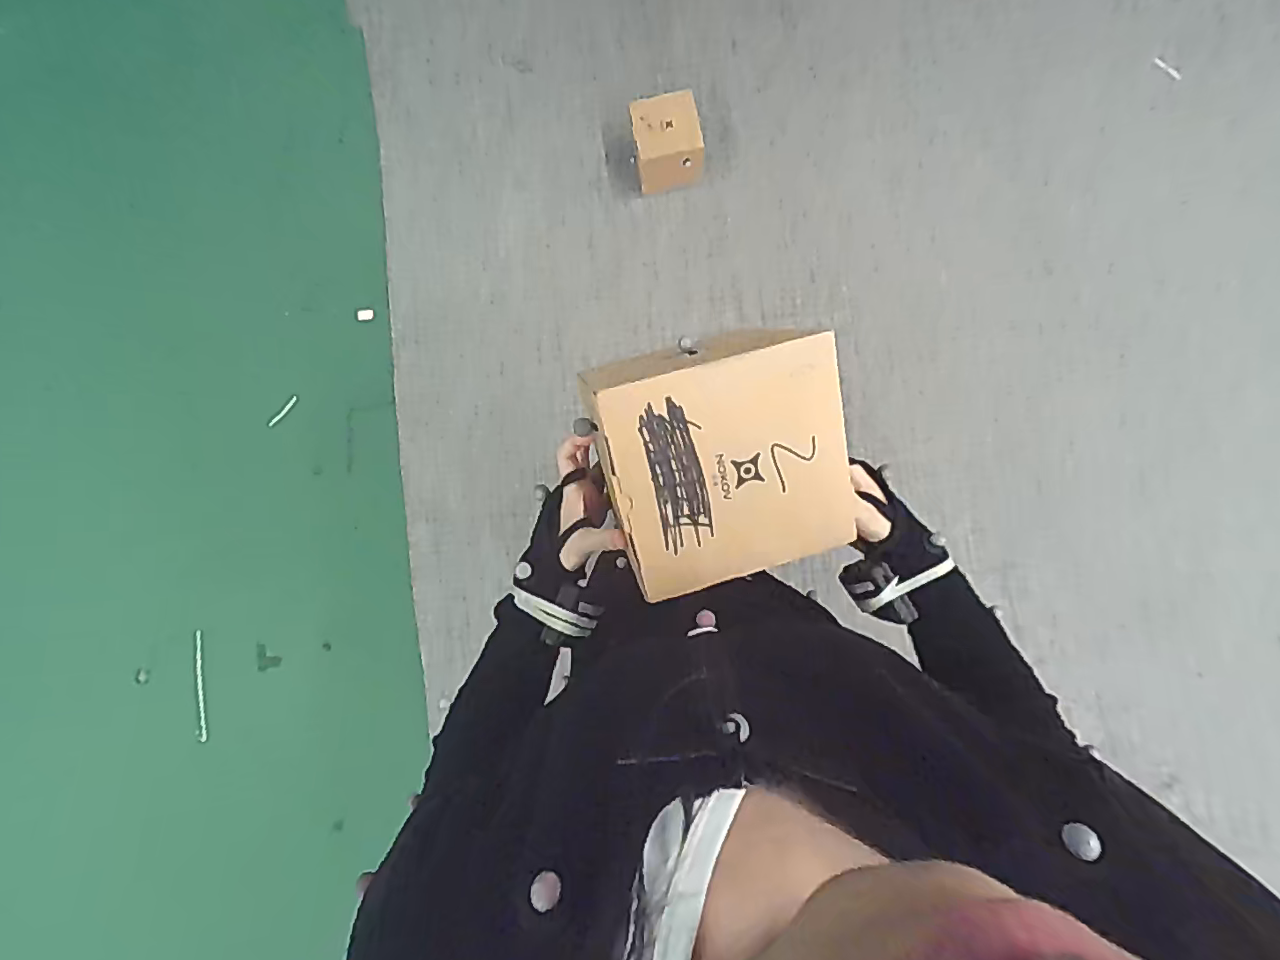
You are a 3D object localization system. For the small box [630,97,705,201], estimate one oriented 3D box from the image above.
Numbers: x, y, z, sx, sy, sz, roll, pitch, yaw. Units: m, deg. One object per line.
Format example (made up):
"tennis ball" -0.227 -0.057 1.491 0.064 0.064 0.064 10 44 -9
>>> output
"small box" 0.075 -0.912 1.504 0.179 0.176 0.168 -11 85 3
